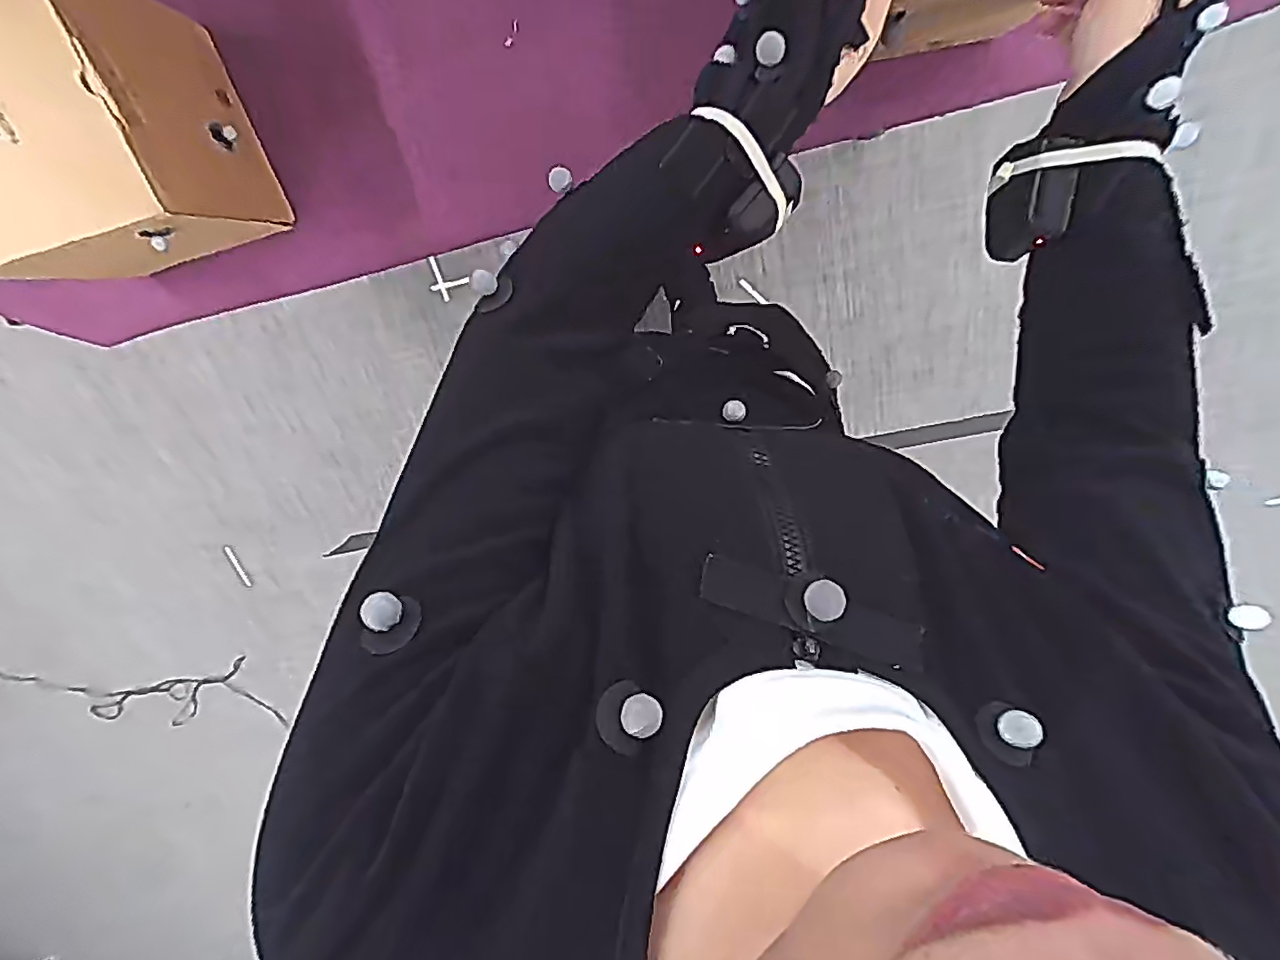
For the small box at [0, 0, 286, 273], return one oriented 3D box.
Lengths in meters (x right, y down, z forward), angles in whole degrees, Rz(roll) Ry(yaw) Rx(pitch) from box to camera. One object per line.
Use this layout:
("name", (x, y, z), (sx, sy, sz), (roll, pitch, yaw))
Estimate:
("small box", (-0.447, -0.274, 0.442), (0.179, 0.176, 0.168), (-16, 112, 4))
